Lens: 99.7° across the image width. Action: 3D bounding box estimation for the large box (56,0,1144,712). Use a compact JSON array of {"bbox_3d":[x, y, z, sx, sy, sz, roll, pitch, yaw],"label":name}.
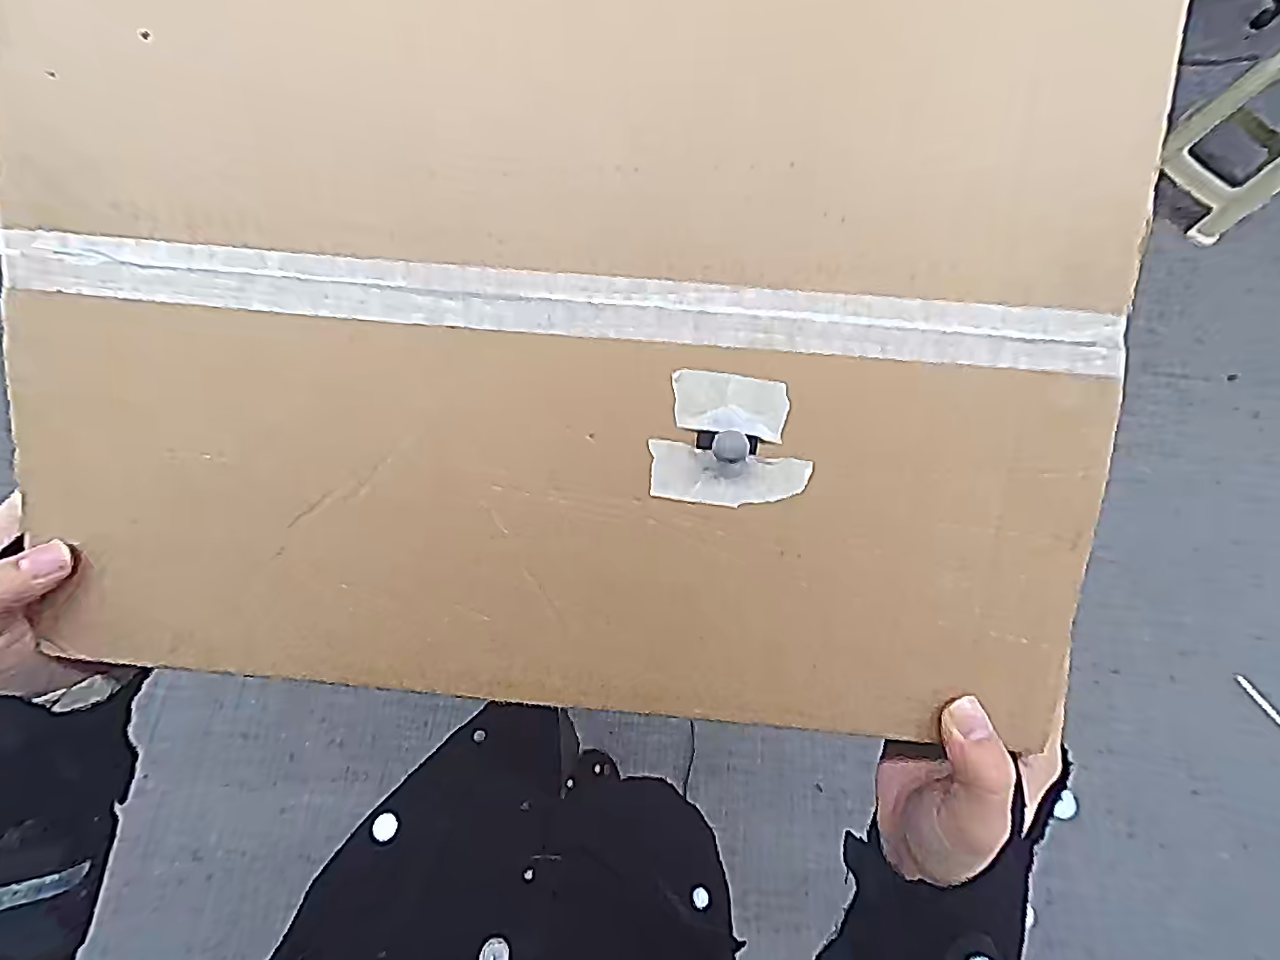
[{"bbox_3d":[-0.025,-0.083,0.358,0.408,0.320,0.320,5,98,0],"label":"large box"}]
